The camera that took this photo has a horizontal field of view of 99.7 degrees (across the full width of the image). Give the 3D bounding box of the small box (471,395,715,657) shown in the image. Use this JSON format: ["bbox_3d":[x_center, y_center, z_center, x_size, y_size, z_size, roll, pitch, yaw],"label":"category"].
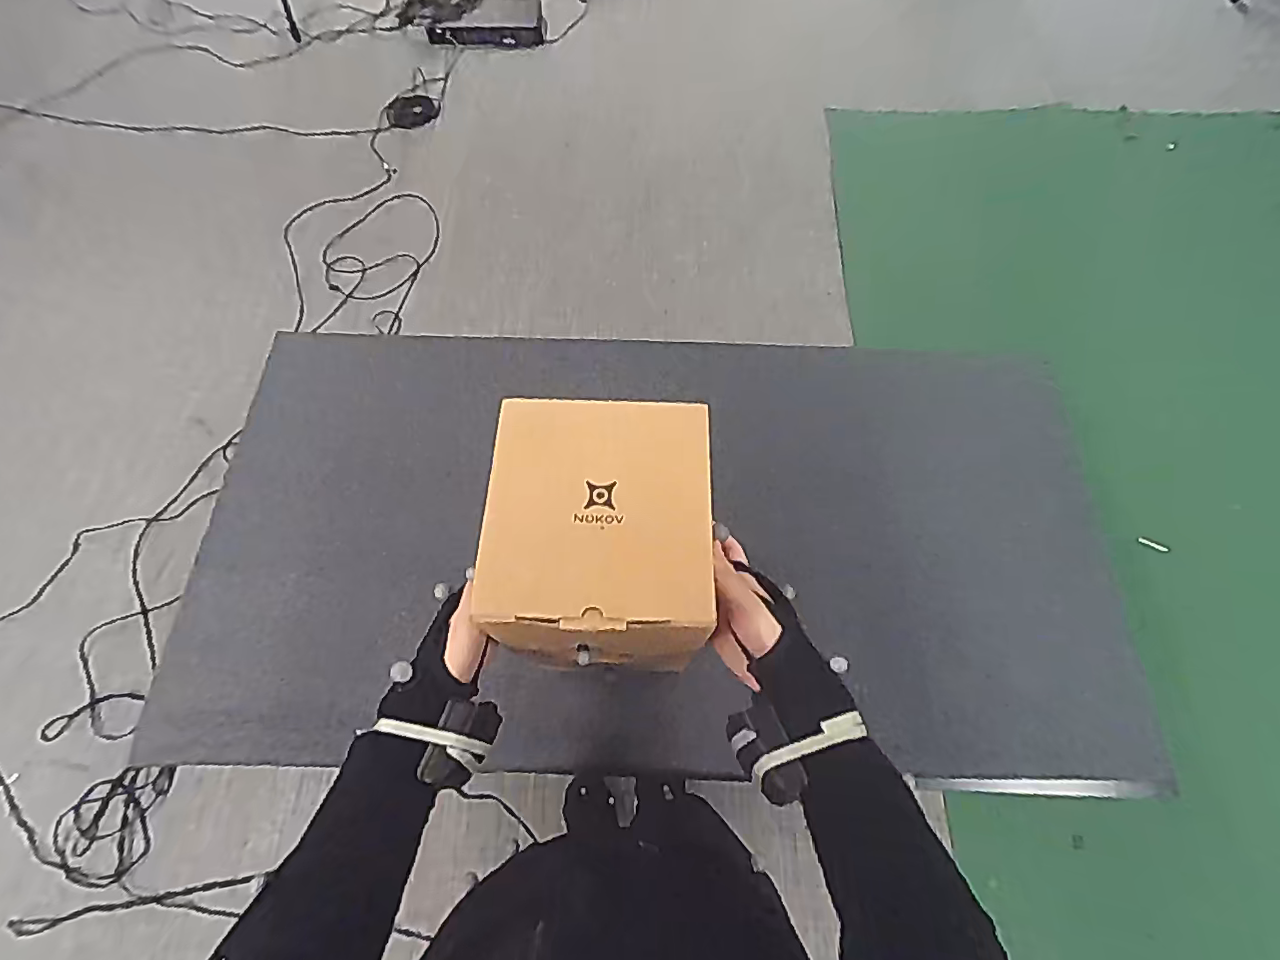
[{"bbox_3d":[-0.031,0.047,0.466,0.168,0.176,0.179,1,64,0],"label":"small box"}]

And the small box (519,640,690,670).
[{"bbox_3d":[-0.031,0.117,0.618,0.168,0.176,0.179,0,67,2],"label":"small box"}]
